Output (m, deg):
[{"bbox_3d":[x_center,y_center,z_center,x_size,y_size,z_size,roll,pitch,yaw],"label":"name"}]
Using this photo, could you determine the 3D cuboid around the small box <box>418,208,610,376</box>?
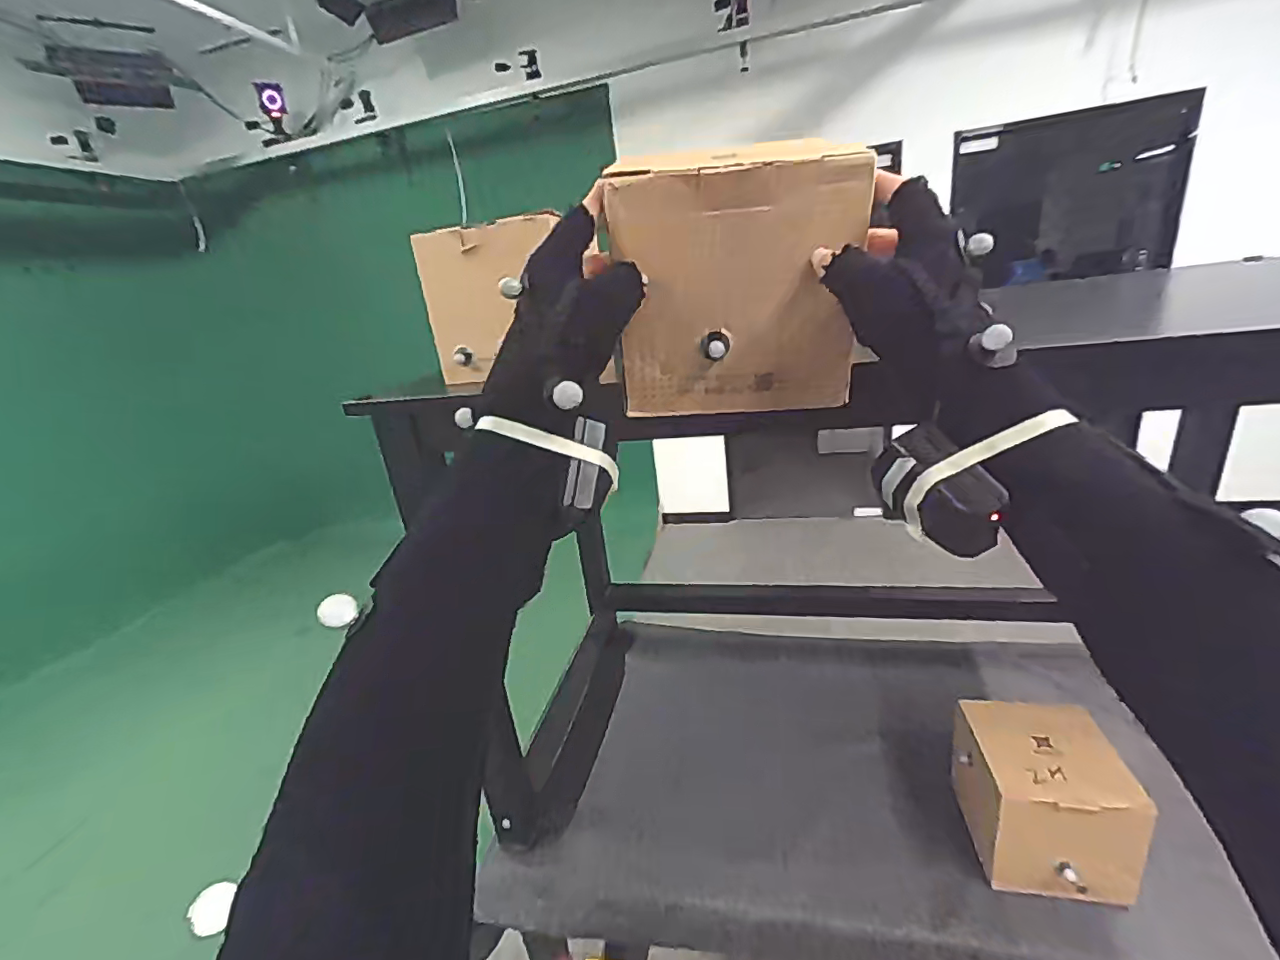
[{"bbox_3d":[-0.141,-0.228,0.680,0.168,0.176,0.179,-2,19,13],"label":"small box"}]

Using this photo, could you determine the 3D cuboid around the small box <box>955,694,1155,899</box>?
[{"bbox_3d":[0.560,0.432,0.760,0.168,0.176,0.179,-3,19,14],"label":"small box"}]

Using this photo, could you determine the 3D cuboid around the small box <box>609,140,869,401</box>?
[{"bbox_3d":[0.071,-0.175,0.450,0.168,0.176,0.179,-3,31,5],"label":"small box"}]
